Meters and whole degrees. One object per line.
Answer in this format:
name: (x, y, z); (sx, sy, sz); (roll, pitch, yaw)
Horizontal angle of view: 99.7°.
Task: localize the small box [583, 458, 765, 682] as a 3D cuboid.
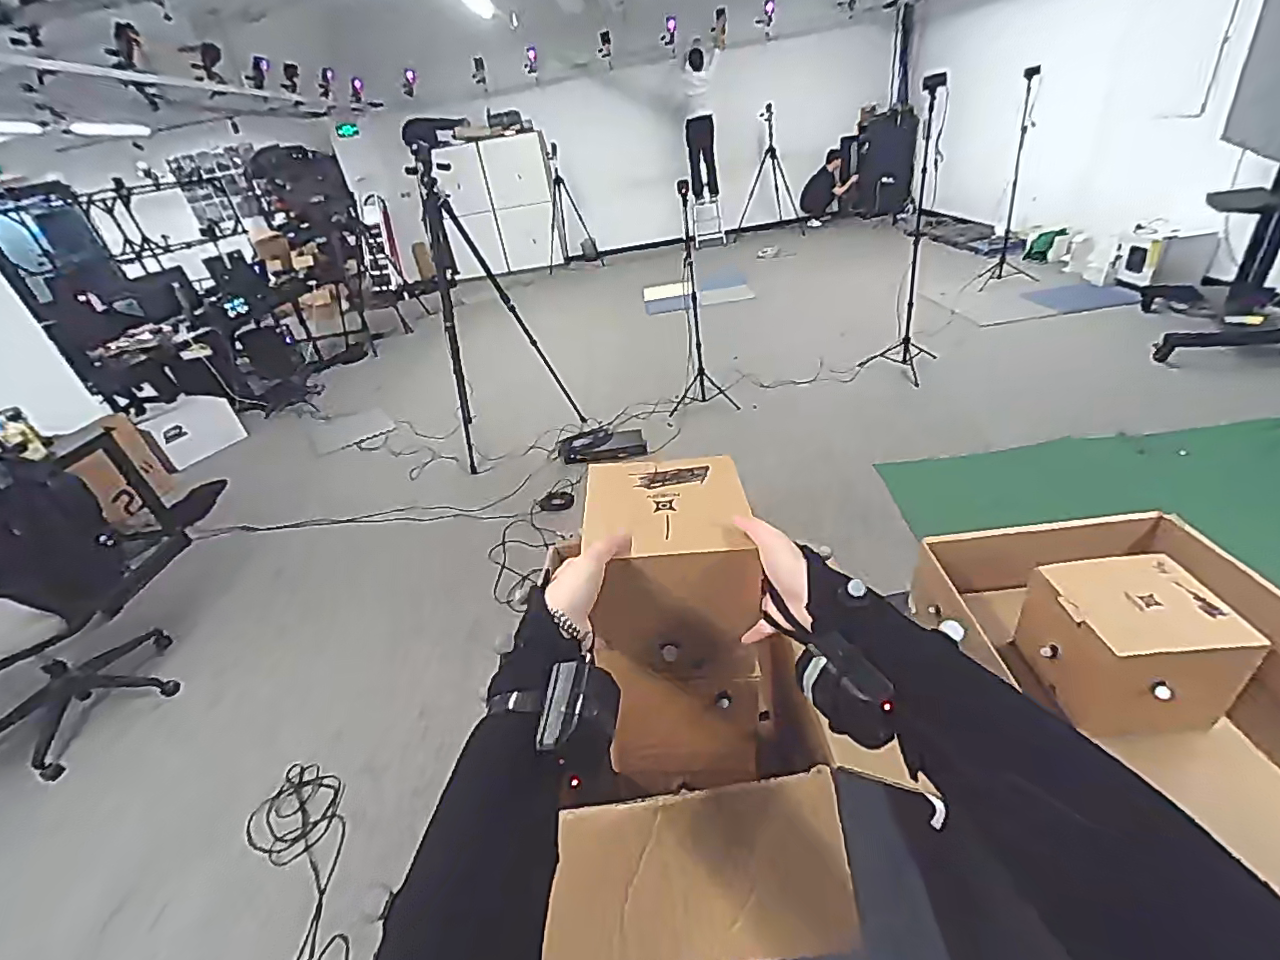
small box: (0.033, 0.093, 0.592); (0.168, 0.176, 0.179); (-4, 31, 1)
